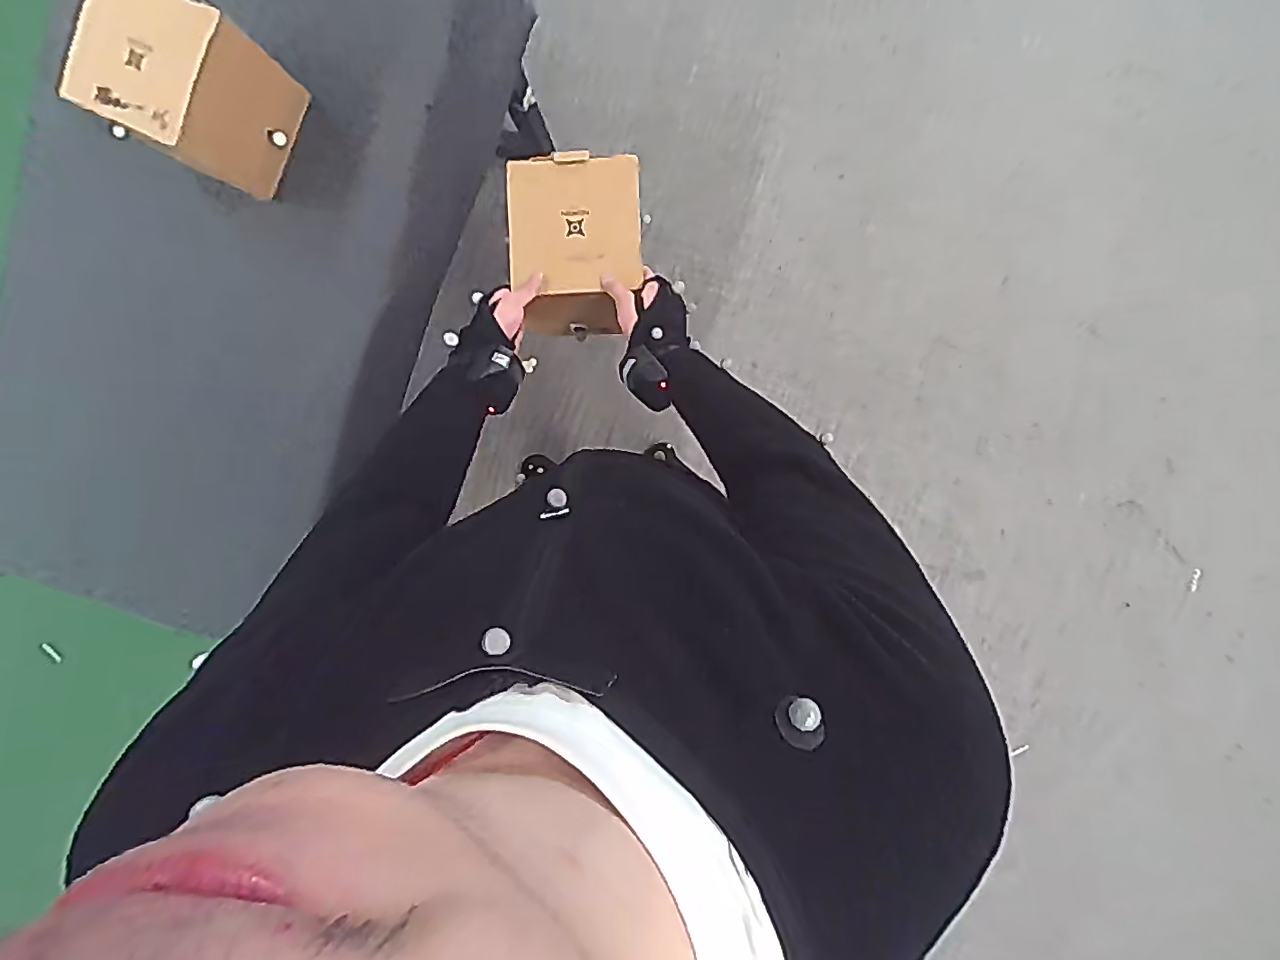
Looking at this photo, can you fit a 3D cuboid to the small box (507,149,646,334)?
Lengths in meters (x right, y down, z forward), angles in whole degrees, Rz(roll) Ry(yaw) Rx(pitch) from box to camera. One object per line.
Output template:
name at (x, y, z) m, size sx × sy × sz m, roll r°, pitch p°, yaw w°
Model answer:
small box at (-0.076, -0.311, 0.731) m, size 0.168 × 0.176 × 0.179 m, roll -1°, pitch 87°, yaw 2°

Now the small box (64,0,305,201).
small box at (-0.611, -0.532, 0.751) m, size 0.168 × 0.176 × 0.179 m, roll 25°, pitch 95°, yaw 1°
